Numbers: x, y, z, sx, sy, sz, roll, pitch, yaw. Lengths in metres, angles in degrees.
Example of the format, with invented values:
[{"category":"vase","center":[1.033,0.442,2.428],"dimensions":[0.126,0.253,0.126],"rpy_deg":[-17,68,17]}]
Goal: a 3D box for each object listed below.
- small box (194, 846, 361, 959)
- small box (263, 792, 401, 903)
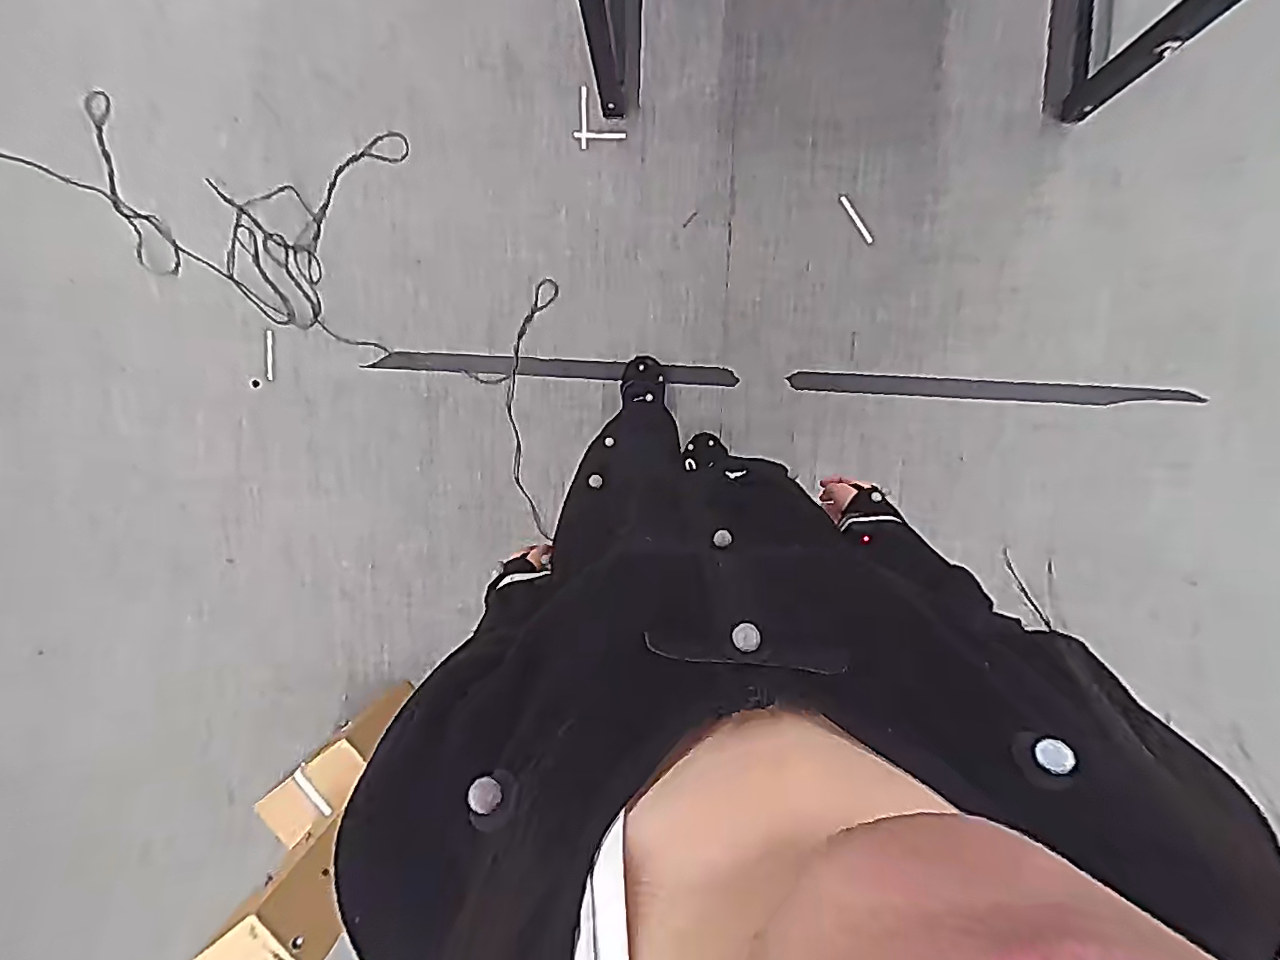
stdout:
[{"category":"small box","center":[-0.700,0.883,1.066],"dimensions":[0.179,0.176,0.168],"rpy_deg":[-39,92,7]},{"category":"small box","center":[-0.687,0.865,1.229],"dimensions":[0.179,0.176,0.168],"rpy_deg":[-39,92,6]}]
